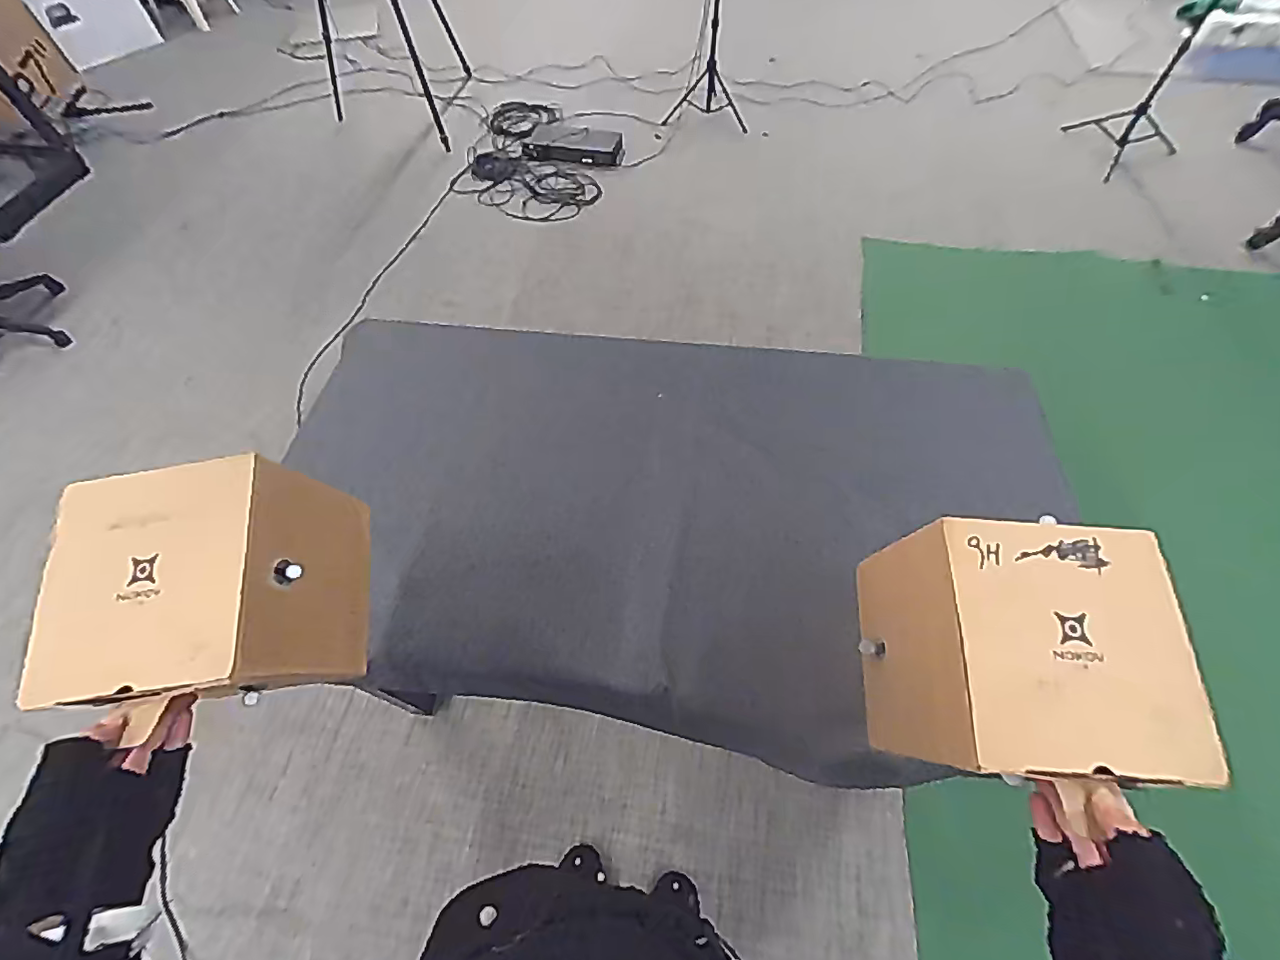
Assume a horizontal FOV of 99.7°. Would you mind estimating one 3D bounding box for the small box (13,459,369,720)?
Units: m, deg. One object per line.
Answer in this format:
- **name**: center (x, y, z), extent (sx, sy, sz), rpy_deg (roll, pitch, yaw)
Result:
- **small box**: center (-0.364, 0.102, 0.479), extent (0.168, 0.176, 0.179), rpy_deg (-9, 70, 2)
